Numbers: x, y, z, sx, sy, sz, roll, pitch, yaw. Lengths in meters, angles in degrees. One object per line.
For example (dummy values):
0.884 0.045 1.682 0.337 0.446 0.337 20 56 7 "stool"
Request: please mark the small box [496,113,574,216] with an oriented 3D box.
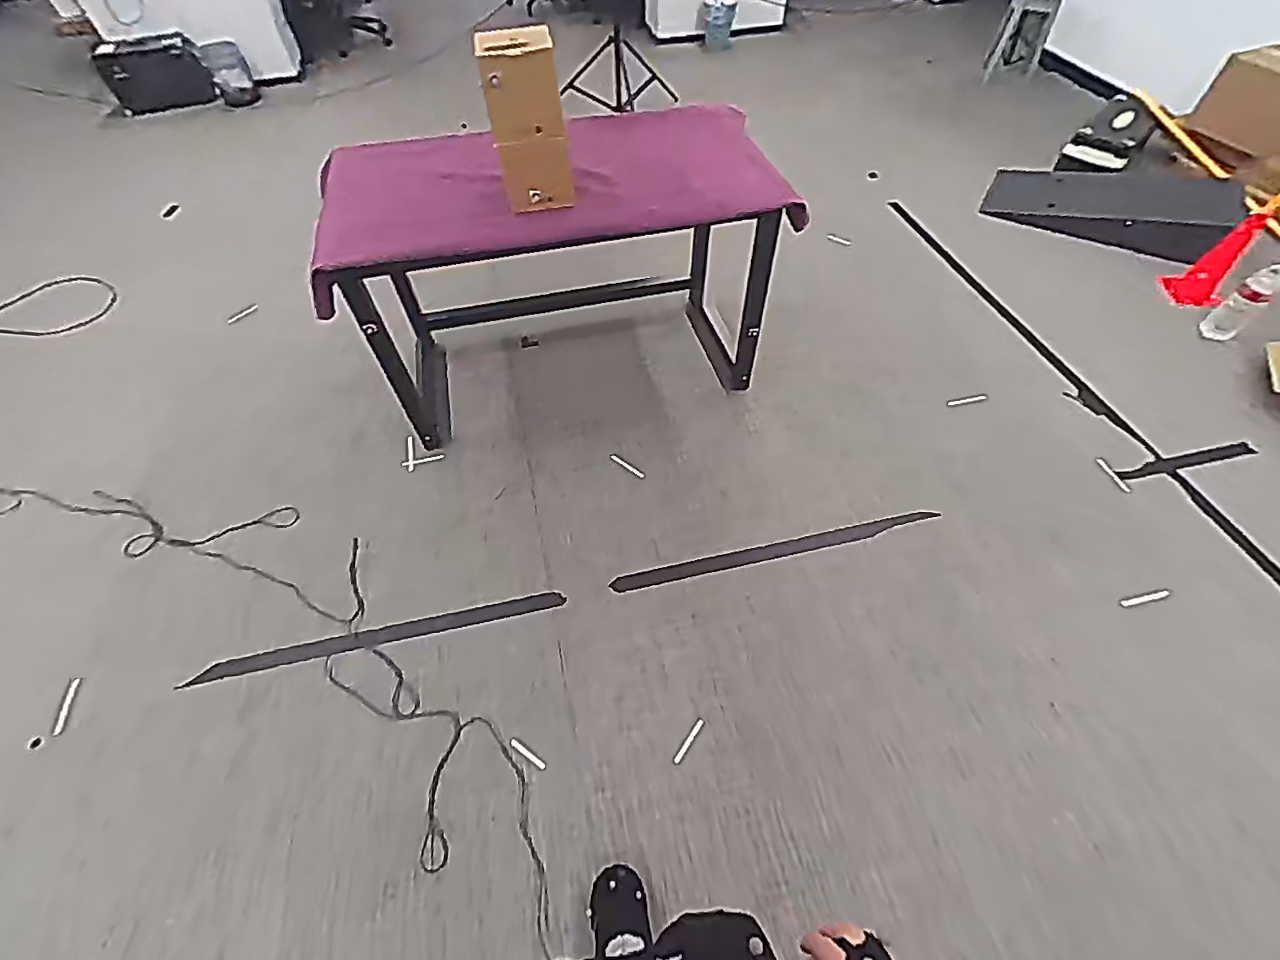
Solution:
-0.266 -0.802 1.378 0.168 0.176 0.179 -10 55 -5 "small box"
